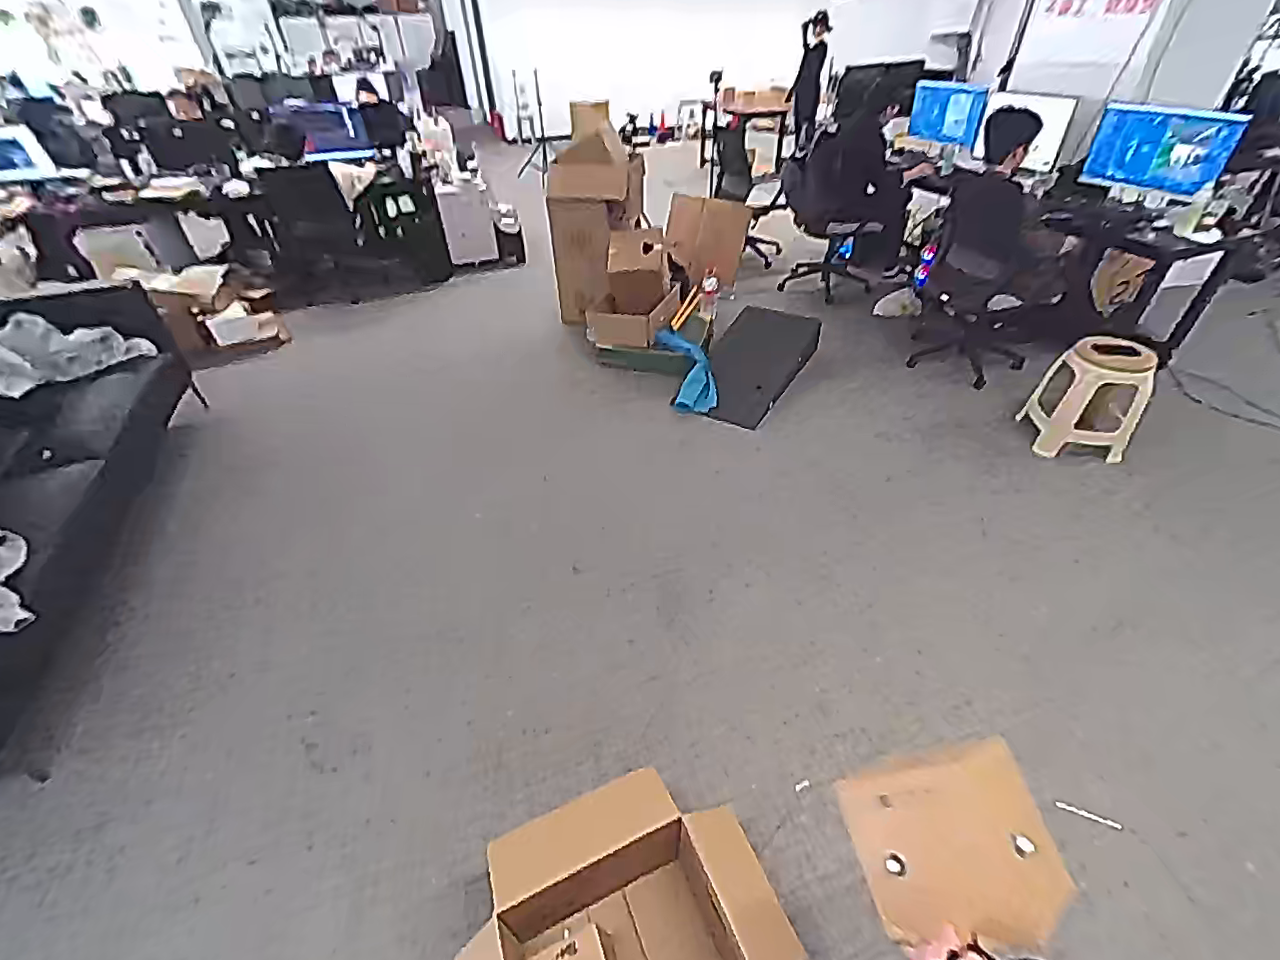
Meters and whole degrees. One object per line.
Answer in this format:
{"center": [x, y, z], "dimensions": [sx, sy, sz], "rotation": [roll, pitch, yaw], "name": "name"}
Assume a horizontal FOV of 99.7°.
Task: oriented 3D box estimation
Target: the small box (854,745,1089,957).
{"center": [0.393, 0.435, 0.657], "dimensions": [0.179, 0.168, 0.176], "rotation": [13, 56, -41], "name": "small box"}
